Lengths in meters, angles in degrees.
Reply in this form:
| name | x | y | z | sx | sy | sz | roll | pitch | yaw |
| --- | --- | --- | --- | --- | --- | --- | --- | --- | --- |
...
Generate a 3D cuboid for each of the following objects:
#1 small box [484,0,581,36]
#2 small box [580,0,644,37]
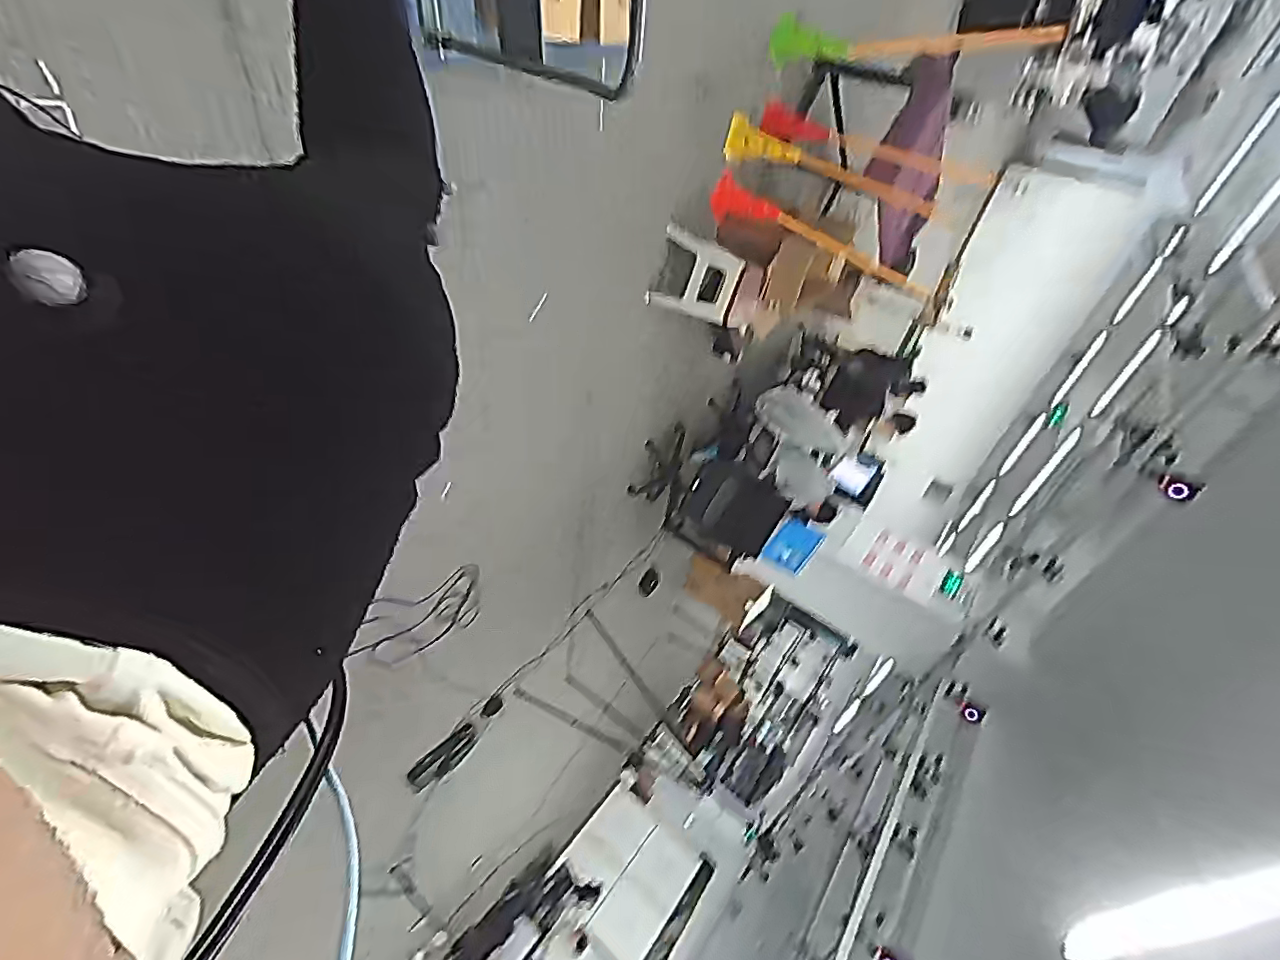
| name | x | y | z | sx | sy | sz | roll | pitch | yaw |
| --- | --- | --- | --- | --- | --- | --- | --- | --- | --- |
| small box | -0.260 | -1.201 | 1.314 | 0.179 | 0.176 | 0.168 | -36 | 148 | -38 |
| small box | -0.104 | -1.319 | 1.463 | 0.179 | 0.176 | 0.168 | -39 | 149 | -35 |
